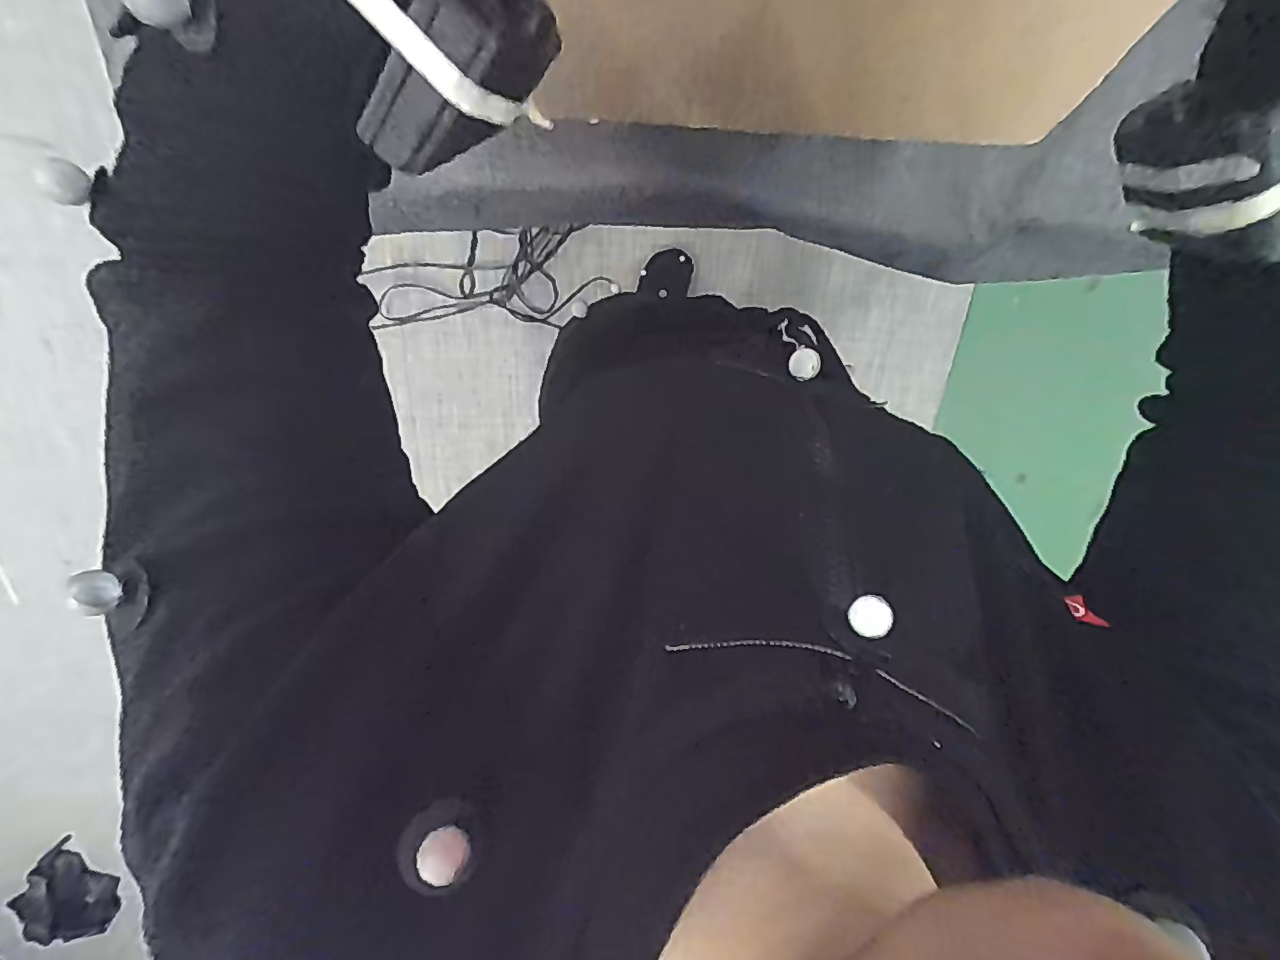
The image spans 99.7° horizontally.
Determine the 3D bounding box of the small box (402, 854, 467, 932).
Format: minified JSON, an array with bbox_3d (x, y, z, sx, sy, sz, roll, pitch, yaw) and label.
[{"bbox_3d":[-0.739,1.488,1.954,0.179,0.176,0.168,4,112,-3],"label":"small box"}]
